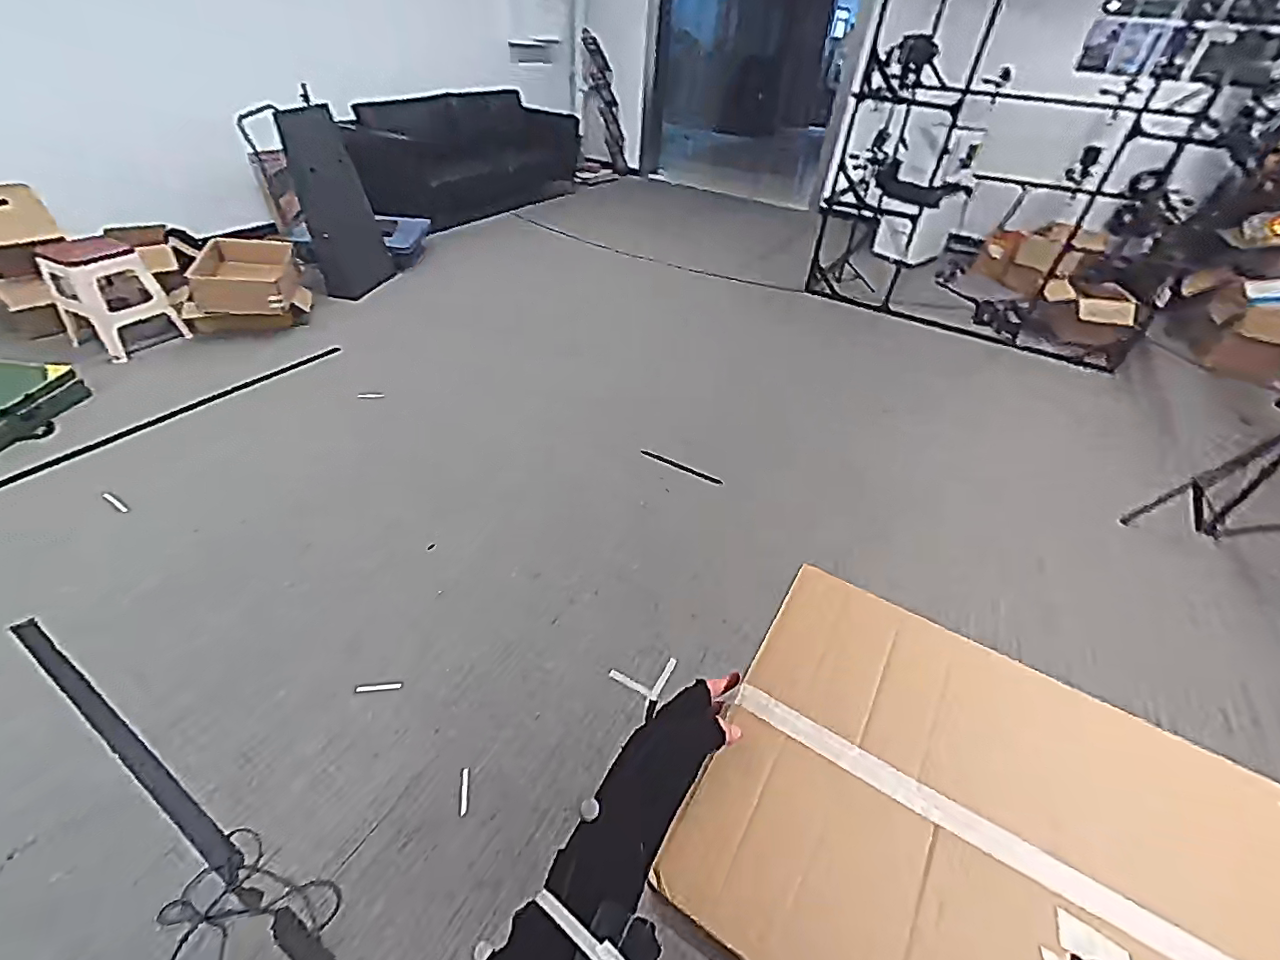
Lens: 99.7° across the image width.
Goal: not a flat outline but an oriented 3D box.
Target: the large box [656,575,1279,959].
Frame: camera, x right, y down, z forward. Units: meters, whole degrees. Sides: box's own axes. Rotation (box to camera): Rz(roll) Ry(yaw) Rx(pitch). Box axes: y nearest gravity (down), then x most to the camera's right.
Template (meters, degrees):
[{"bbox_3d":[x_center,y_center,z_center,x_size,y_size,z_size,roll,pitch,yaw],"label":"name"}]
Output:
[{"bbox_3d":[0.260,0.367,0.522,0.408,0.320,0.320,25,54,22],"label":"large box"}]
